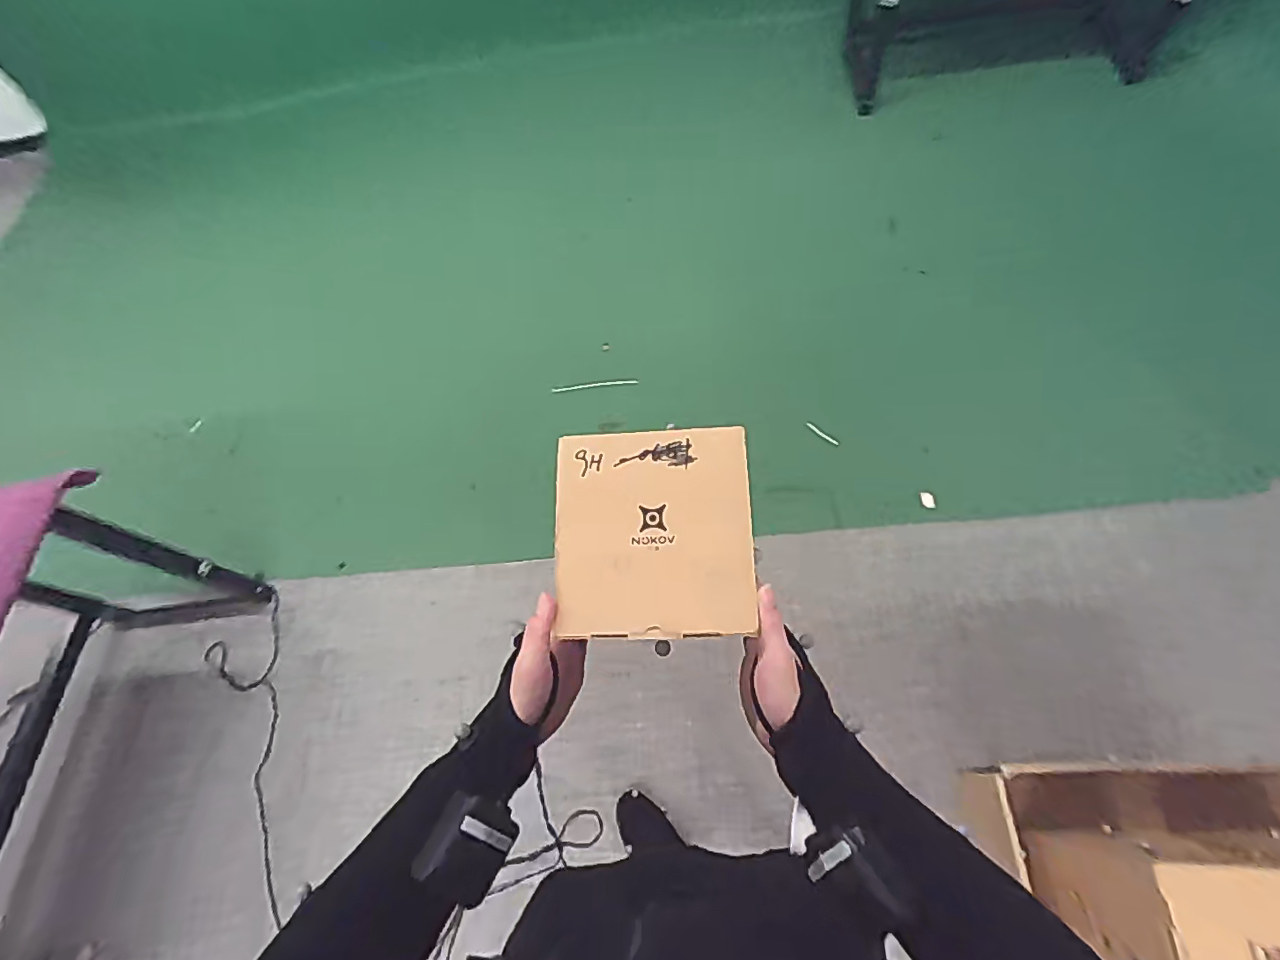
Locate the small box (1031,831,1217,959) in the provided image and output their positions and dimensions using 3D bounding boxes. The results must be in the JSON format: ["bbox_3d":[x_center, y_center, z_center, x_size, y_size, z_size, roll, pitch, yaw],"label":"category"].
[{"bbox_3d":[0.707,0.614,0.780,0.179,0.176,0.168,-2,62,6],"label":"small box"}]

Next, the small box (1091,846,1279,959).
[{"bbox_3d":[0.682,0.543,0.636,0.179,0.176,0.168,-1,63,7],"label":"small box"}]

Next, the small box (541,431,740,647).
[{"bbox_3d":[0.007,0.065,0.528,0.168,0.176,0.179,-4,75,6],"label":"small box"}]
